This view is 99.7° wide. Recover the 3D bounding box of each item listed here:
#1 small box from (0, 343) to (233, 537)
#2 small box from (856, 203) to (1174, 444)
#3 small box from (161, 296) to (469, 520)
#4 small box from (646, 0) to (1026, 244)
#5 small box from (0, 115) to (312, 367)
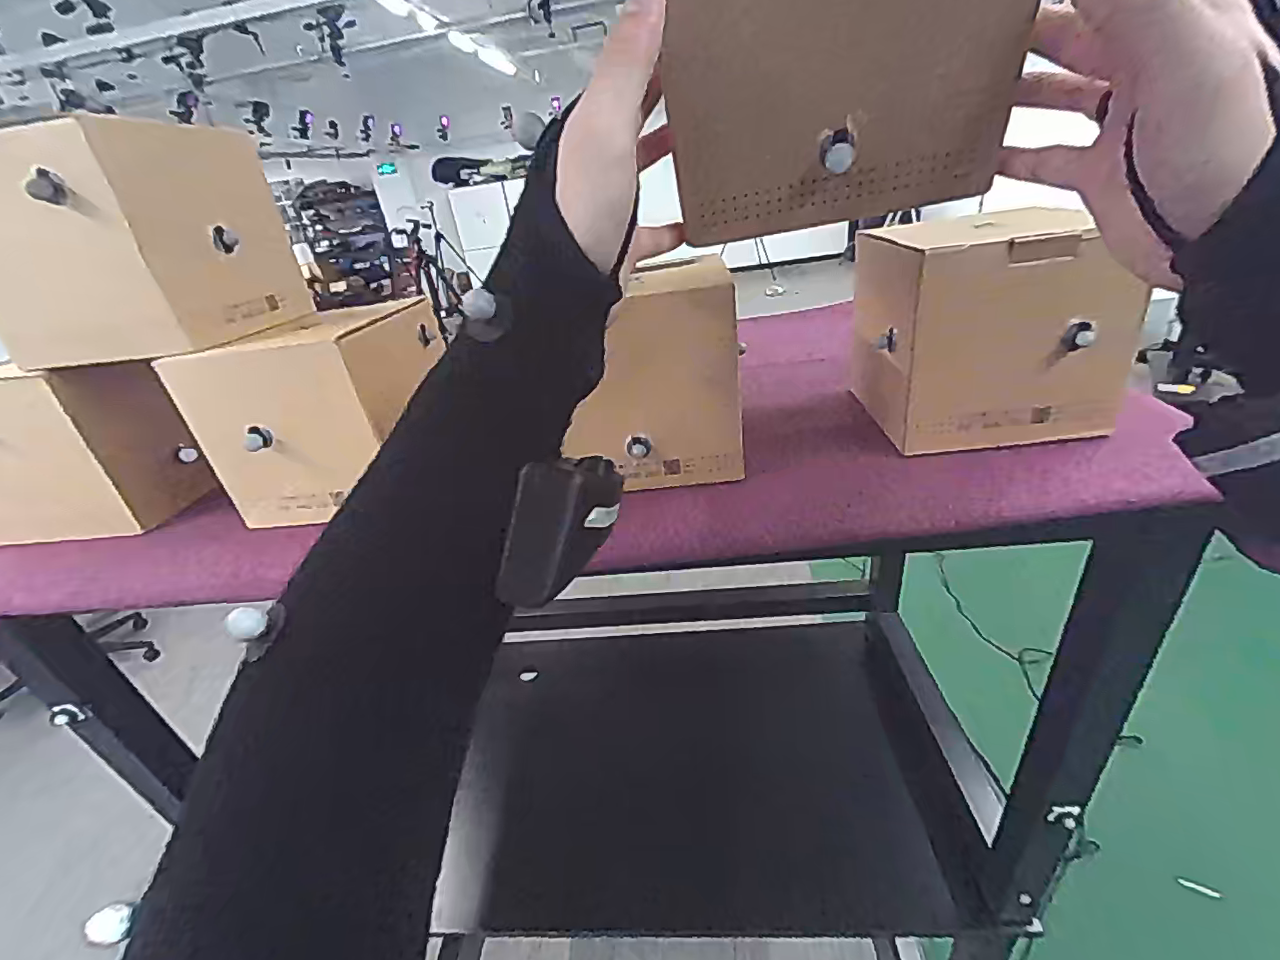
[{"bbox_3d":[-0.571,-0.051,0.576,0.179,0.176,0.168,-4,29,7],"label":"small box"},{"bbox_3d":[0.300,-0.138,0.484,0.168,0.176,0.179,-5,28,8],"label":"small box"},{"bbox_3d":[-0.292,-0.070,0.537,0.168,0.176,0.179,-5,28,8],"label":"small box"},{"bbox_3d":[0.100,-0.265,0.315,0.179,0.176,0.168,-6,49,11],"label":"small box"},{"bbox_3d":[-0.443,-0.209,0.484,0.179,0.176,0.168,-3,28,8],"label":"small box"}]
